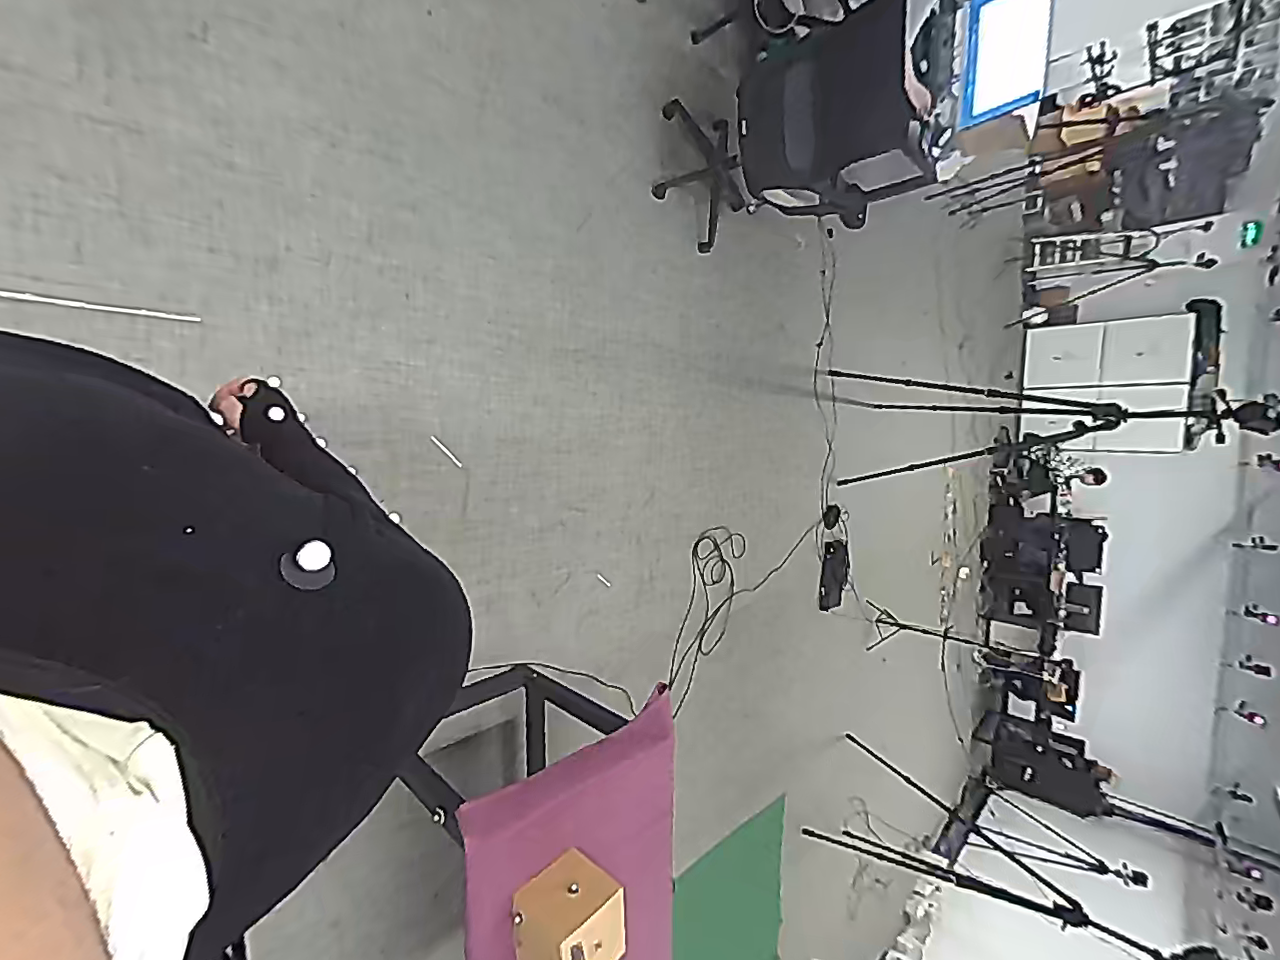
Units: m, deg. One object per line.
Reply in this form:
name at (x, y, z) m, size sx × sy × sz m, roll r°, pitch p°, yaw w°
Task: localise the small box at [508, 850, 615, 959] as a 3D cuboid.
small box at (-0.174, 0.960, 1.170) m, size 0.179 × 0.176 × 0.168 m, roll -9°, pitch 101°, yaw -47°
